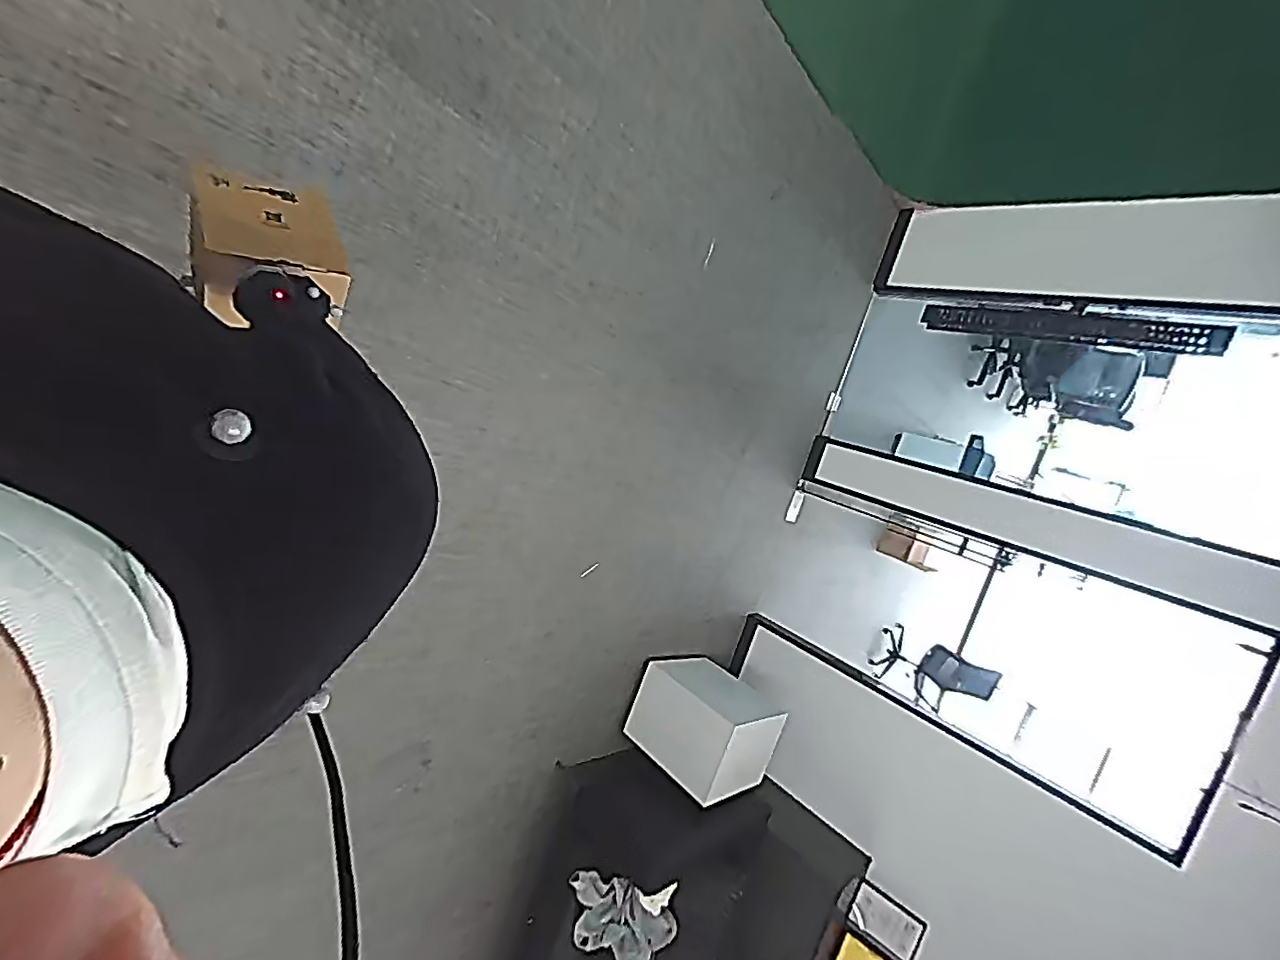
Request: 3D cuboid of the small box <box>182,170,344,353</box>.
[{"bbox_3d":[-0.557,-0.308,0.798,0.168,0.179,0.176,-8,152,-43],"label":"small box"}]
